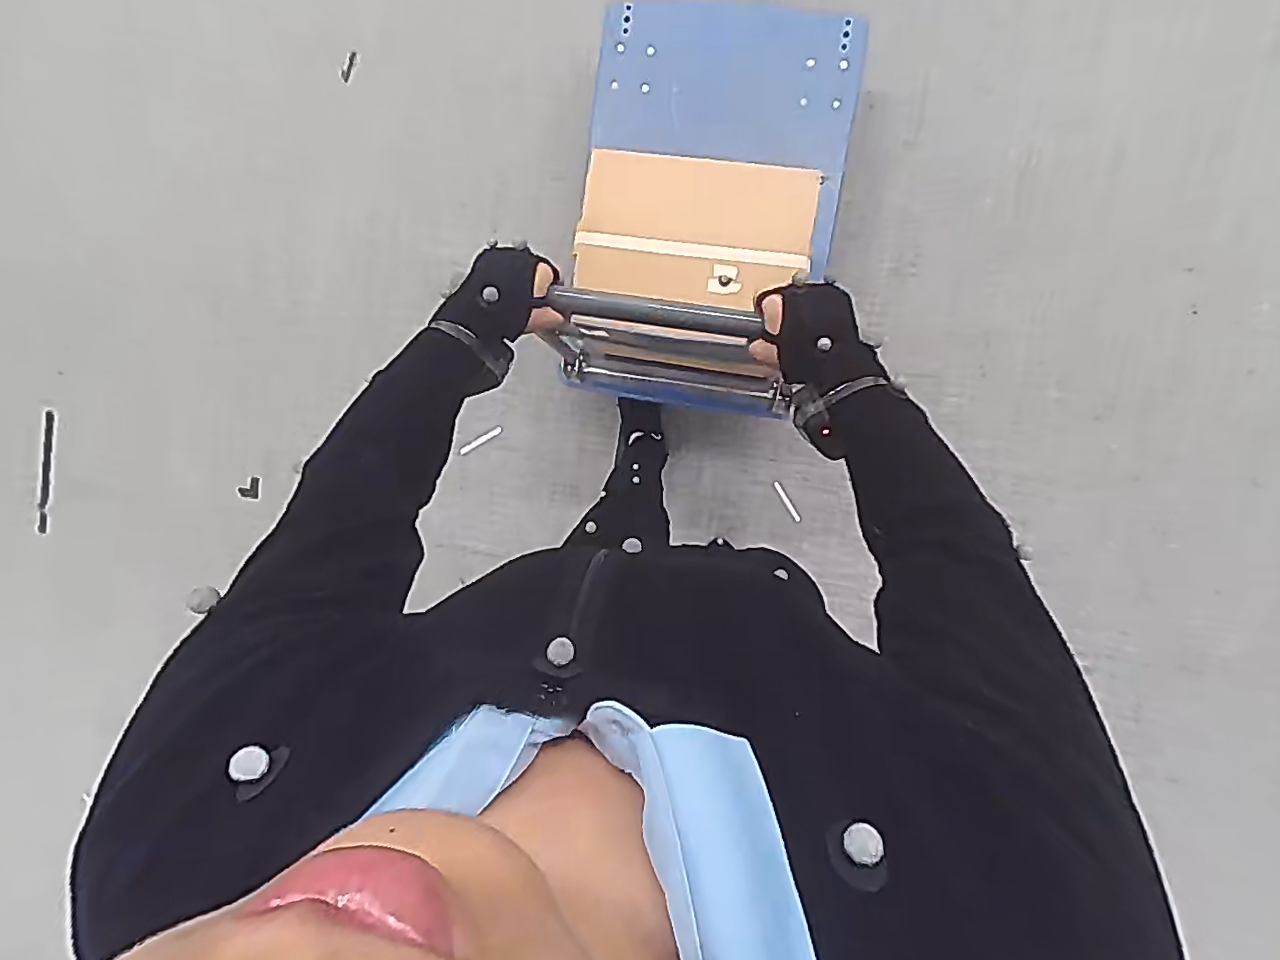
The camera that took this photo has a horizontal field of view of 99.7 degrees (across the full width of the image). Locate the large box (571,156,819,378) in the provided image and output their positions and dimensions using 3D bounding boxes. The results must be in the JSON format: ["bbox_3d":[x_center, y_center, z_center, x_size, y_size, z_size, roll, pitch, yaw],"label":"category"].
[{"bbox_3d":[0.103,-0.402,1.094,0.408,0.320,0.320,9,95,5],"label":"large box"}]
